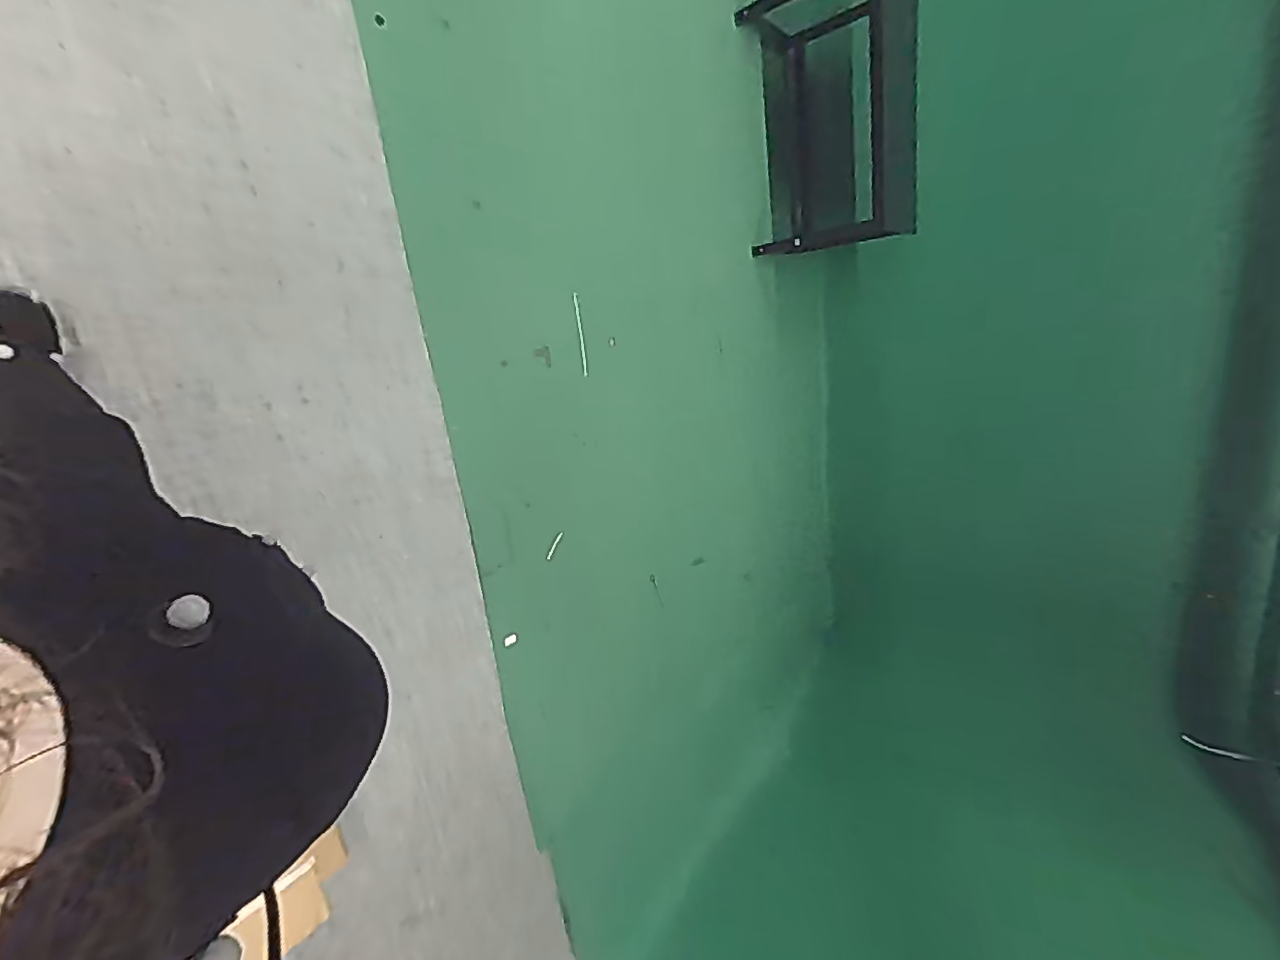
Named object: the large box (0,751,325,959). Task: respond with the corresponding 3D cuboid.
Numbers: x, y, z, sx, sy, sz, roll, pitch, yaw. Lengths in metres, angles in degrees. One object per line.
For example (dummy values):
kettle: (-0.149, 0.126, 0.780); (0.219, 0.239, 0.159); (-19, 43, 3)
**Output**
large box: (-0.949, 0.855, 1.101); (0.408, 0.320, 0.320); (-25, 112, -47)
